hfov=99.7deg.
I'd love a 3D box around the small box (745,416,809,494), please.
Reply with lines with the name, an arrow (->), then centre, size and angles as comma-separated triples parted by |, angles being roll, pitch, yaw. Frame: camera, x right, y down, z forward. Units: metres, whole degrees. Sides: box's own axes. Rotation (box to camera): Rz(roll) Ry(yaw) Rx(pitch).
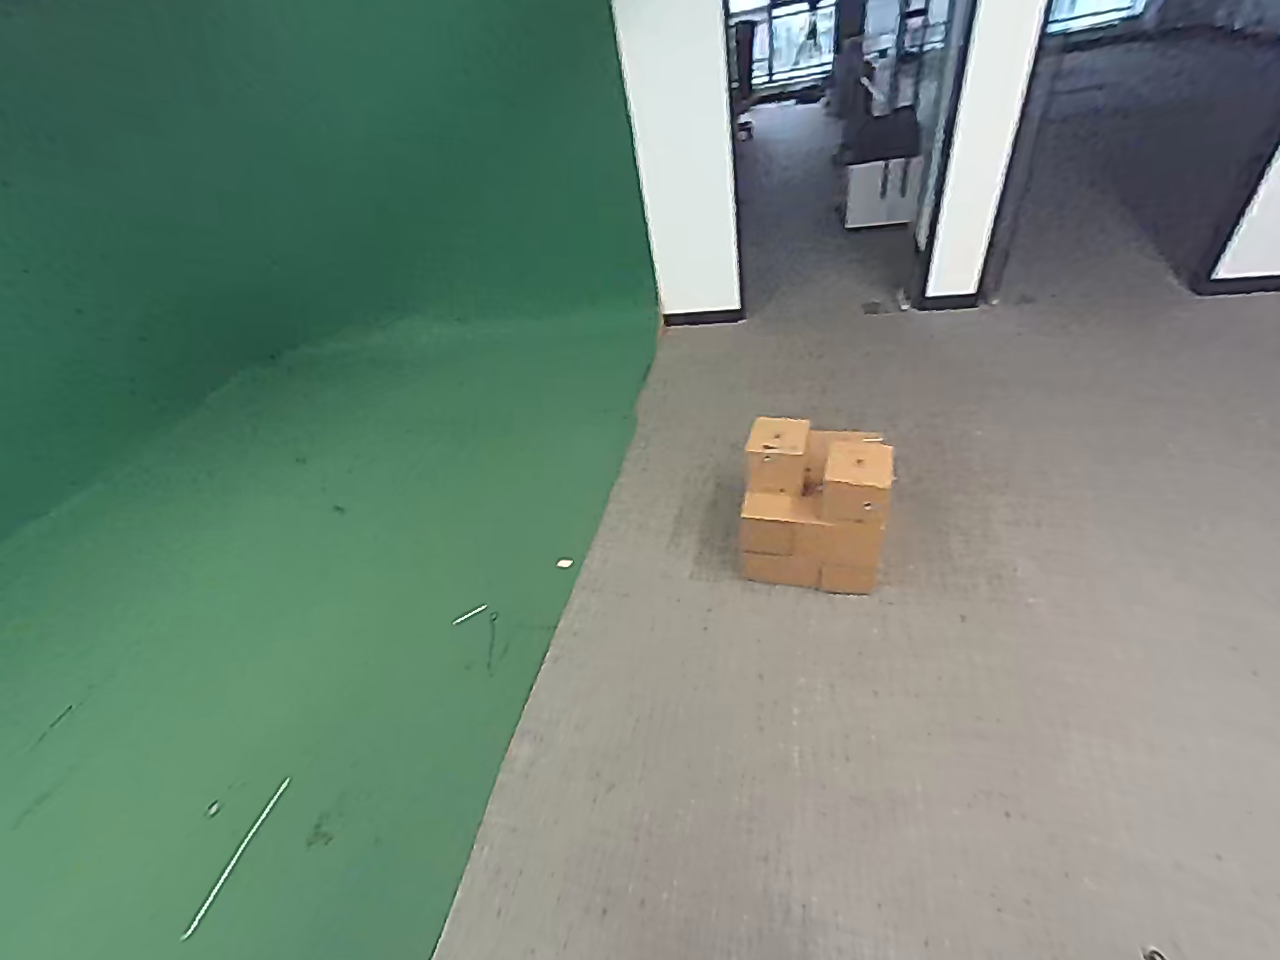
small box -> 0.425, -0.079, 1.674 | 0.168, 0.176, 0.179 | 5, 42, 22

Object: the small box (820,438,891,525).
small box -> 0.607, 0.005, 1.527 | 0.168, 0.176, 0.179 | 8, 44, 21
